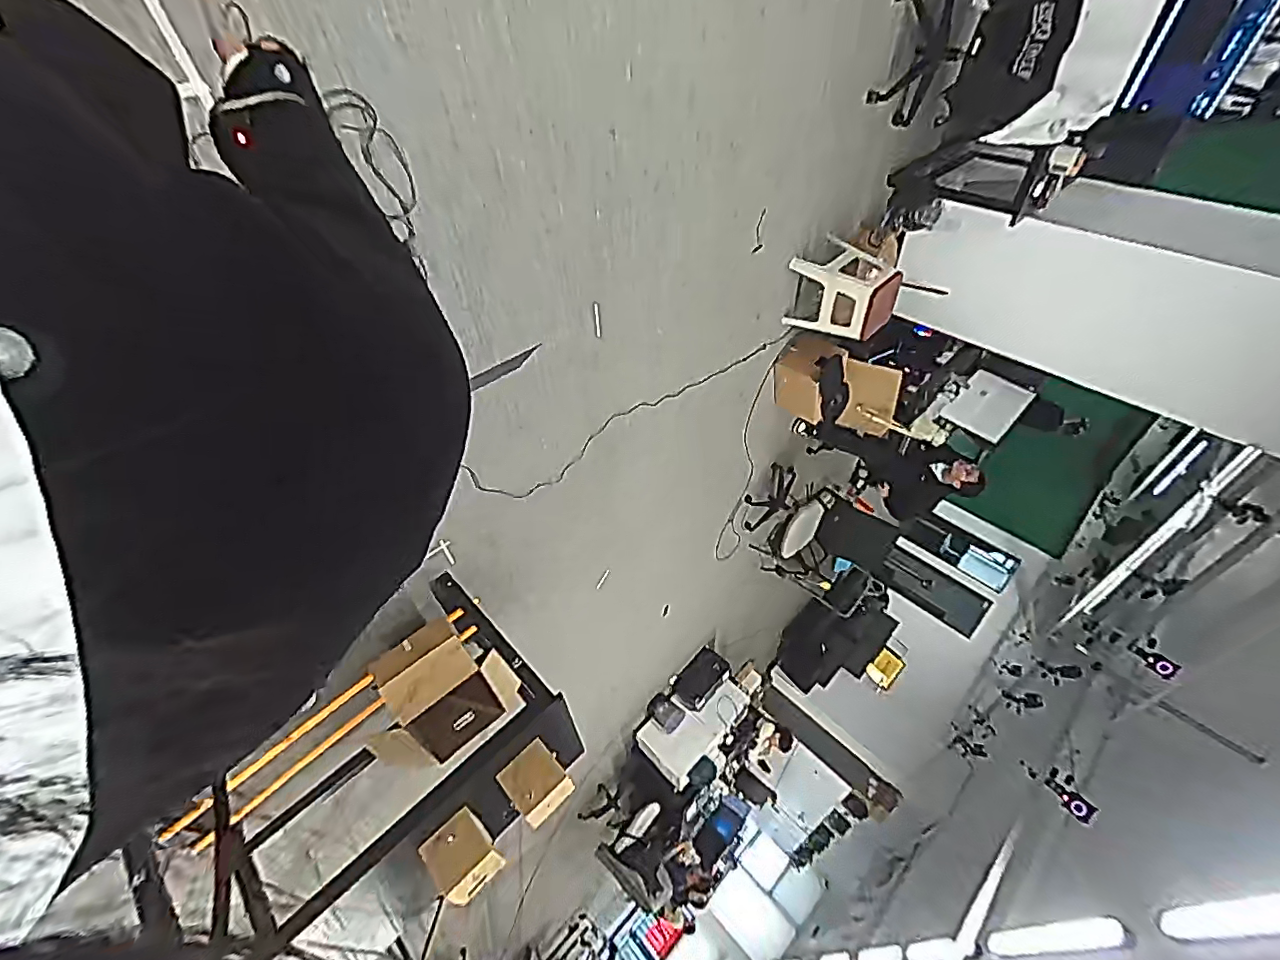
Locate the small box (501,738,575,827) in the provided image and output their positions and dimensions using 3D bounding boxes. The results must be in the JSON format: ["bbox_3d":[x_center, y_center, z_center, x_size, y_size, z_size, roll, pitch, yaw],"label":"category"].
[{"bbox_3d":[-0.346,1.012,1.813,0.179,0.176,0.168,-38,146,-26],"label":"small box"}]

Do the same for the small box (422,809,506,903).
[{"bbox_3d":[-0.548,1.171,1.691,0.168,0.176,0.179,-37,145,-28],"label":"small box"}]
